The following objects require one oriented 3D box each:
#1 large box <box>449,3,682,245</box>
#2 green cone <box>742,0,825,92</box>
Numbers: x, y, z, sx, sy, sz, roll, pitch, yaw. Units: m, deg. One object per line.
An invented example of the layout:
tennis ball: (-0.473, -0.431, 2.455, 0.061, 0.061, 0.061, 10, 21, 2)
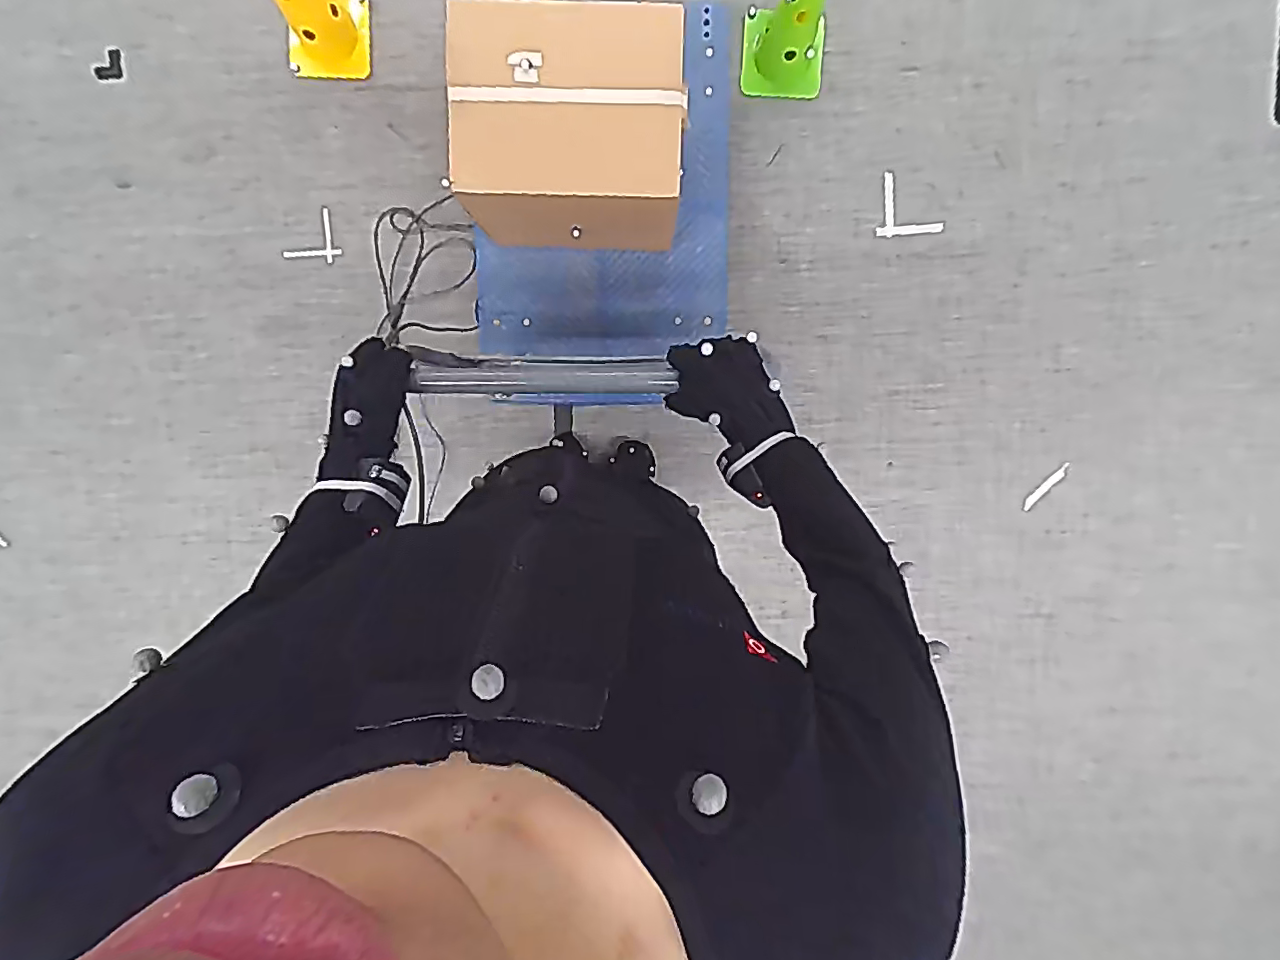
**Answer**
large box: (-0.123, -0.673, 1.081, 0.408, 0.320, 0.320, 1, 96, 1)
green cone: (0.361, -1.061, 1.179, 0.202, 0.368, 0.200, 2, 96, -1)
